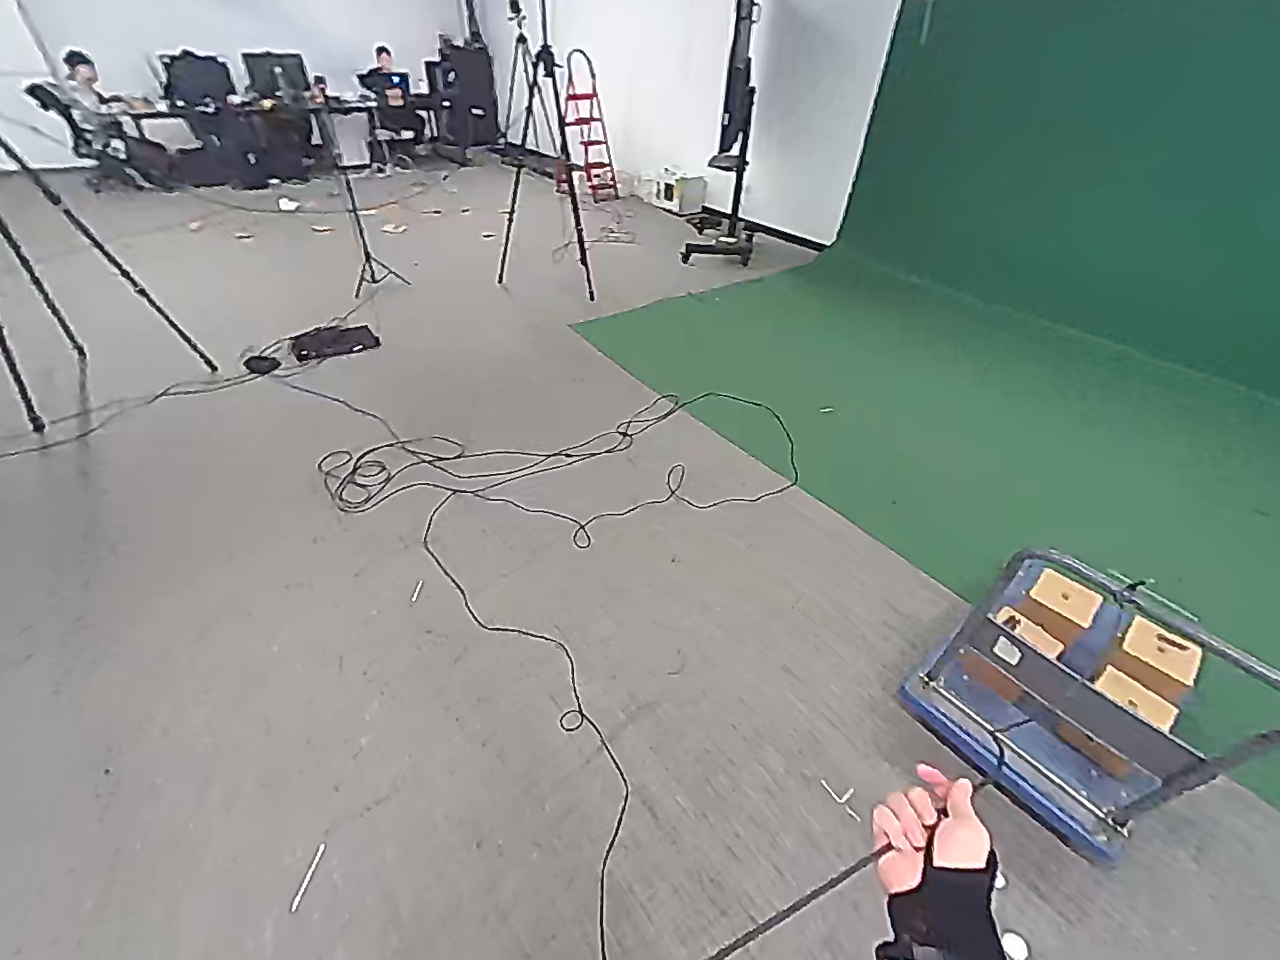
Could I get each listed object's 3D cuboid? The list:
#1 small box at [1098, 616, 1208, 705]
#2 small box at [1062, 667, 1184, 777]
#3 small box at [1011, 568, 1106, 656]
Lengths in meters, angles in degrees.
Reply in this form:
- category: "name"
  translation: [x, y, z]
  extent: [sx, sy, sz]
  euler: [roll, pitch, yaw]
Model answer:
- category: "small box"
  translation: [1.498, 0.544, 1.587]
  extent: [0.179, 0.176, 0.168]
  euler: [-31, 49, -31]
- category: "small box"
  translation: [1.288, 0.650, 1.453]
  extent: [0.179, 0.176, 0.168]
  euler: [-26, 48, -29]
- category: "small box"
  translation: [1.325, 0.424, 1.725]
  extent: [0.179, 0.176, 0.168]
  euler: [-30, 50, -32]
